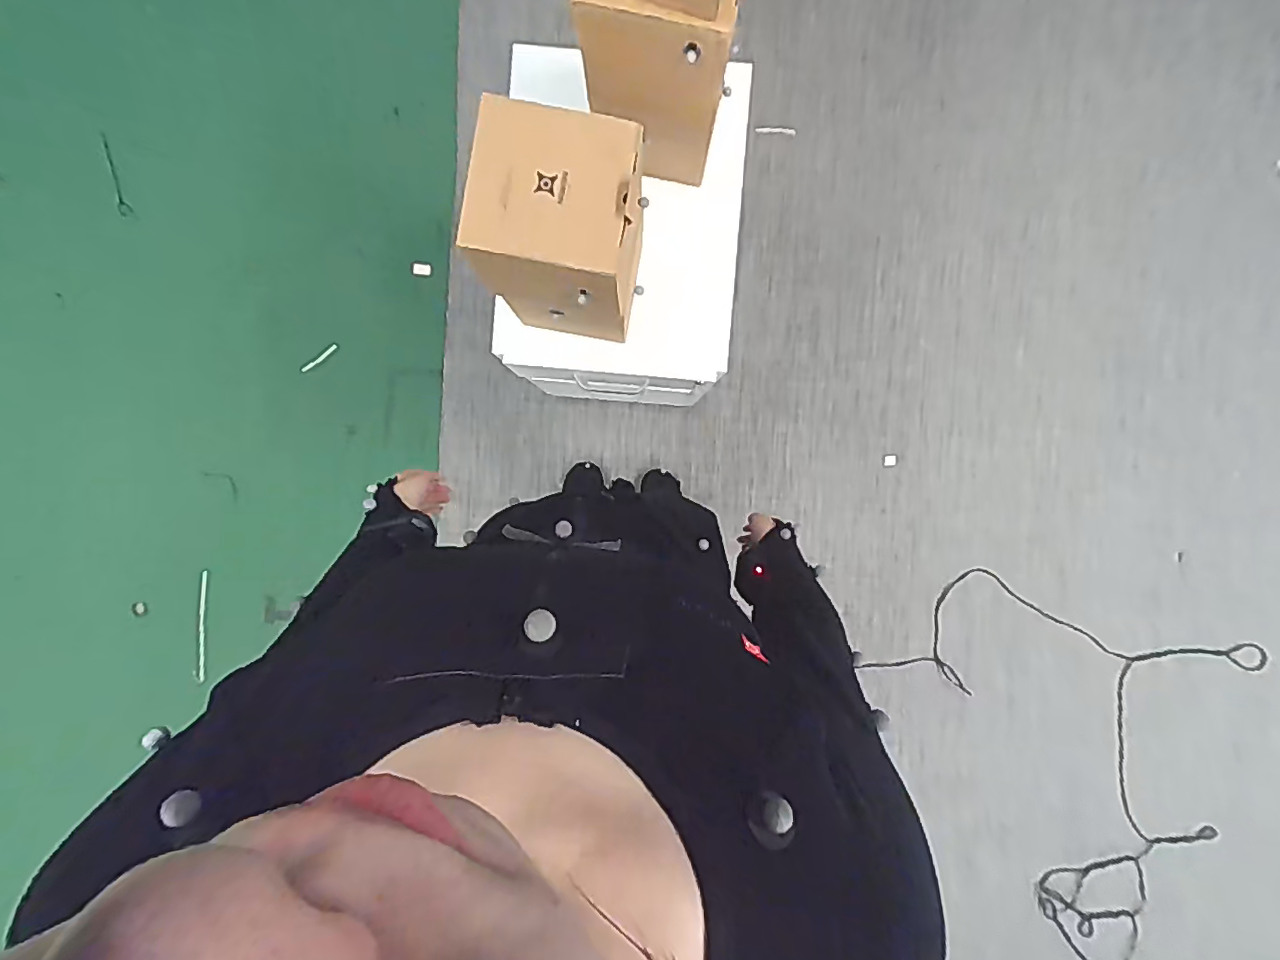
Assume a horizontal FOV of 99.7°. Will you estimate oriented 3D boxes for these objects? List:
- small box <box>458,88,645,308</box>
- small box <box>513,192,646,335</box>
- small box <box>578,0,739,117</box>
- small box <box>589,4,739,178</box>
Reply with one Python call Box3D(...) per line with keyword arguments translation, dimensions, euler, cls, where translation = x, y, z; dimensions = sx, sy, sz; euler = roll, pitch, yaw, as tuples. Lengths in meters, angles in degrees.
Box3D(translation=(-0.095, -0.319, 0.651), dimensions=(0.179, 0.176, 0.168), euler=(10, 90, 0), cls="small box")
Box3D(translation=(-0.093, -0.328, 0.813), dimensions=(0.179, 0.176, 0.168), euler=(10, 92, -2), cls="small box")
Box3D(translation=(0.028, -0.572, 0.642), dimensions=(0.179, 0.176, 0.168), euler=(11, 92, -1), cls="small box")
Box3D(translation=(0.032, -0.582, 0.804), dimensions=(0.179, 0.176, 0.168), euler=(12, 93, 0), cls="small box")
